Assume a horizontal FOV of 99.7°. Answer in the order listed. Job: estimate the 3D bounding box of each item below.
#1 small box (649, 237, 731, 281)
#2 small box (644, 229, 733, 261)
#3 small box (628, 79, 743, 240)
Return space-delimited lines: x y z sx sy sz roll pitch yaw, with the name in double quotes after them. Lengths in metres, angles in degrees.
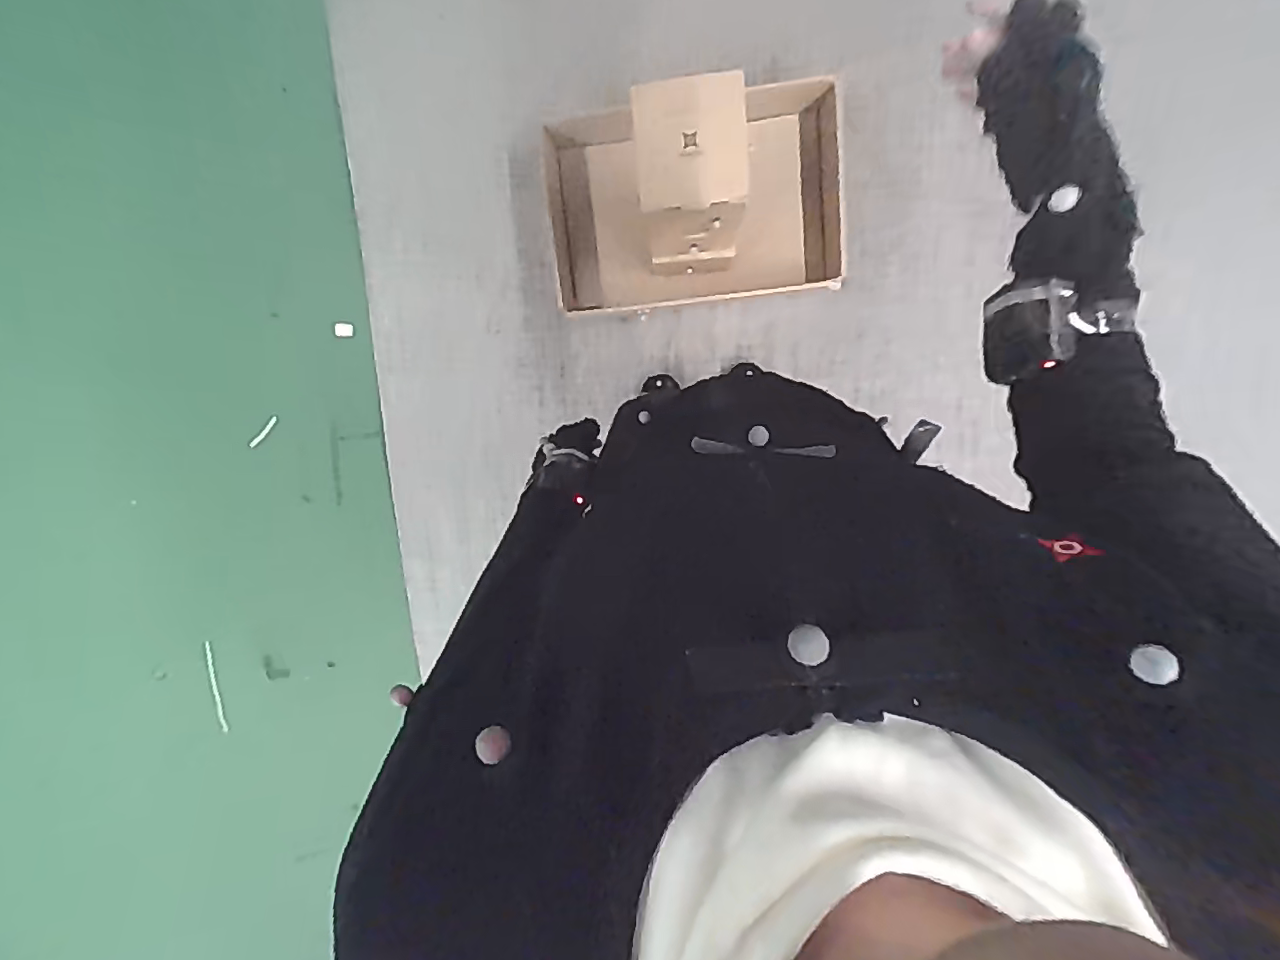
0.110 -0.553 1.217 0.179 0.176 0.168 -2 100 6 "small box"
0.089 -0.539 1.058 0.168 0.176 0.179 -7 100 7 "small box"
0.075 -0.504 0.880 0.168 0.176 0.179 -5 99 4 "small box"
